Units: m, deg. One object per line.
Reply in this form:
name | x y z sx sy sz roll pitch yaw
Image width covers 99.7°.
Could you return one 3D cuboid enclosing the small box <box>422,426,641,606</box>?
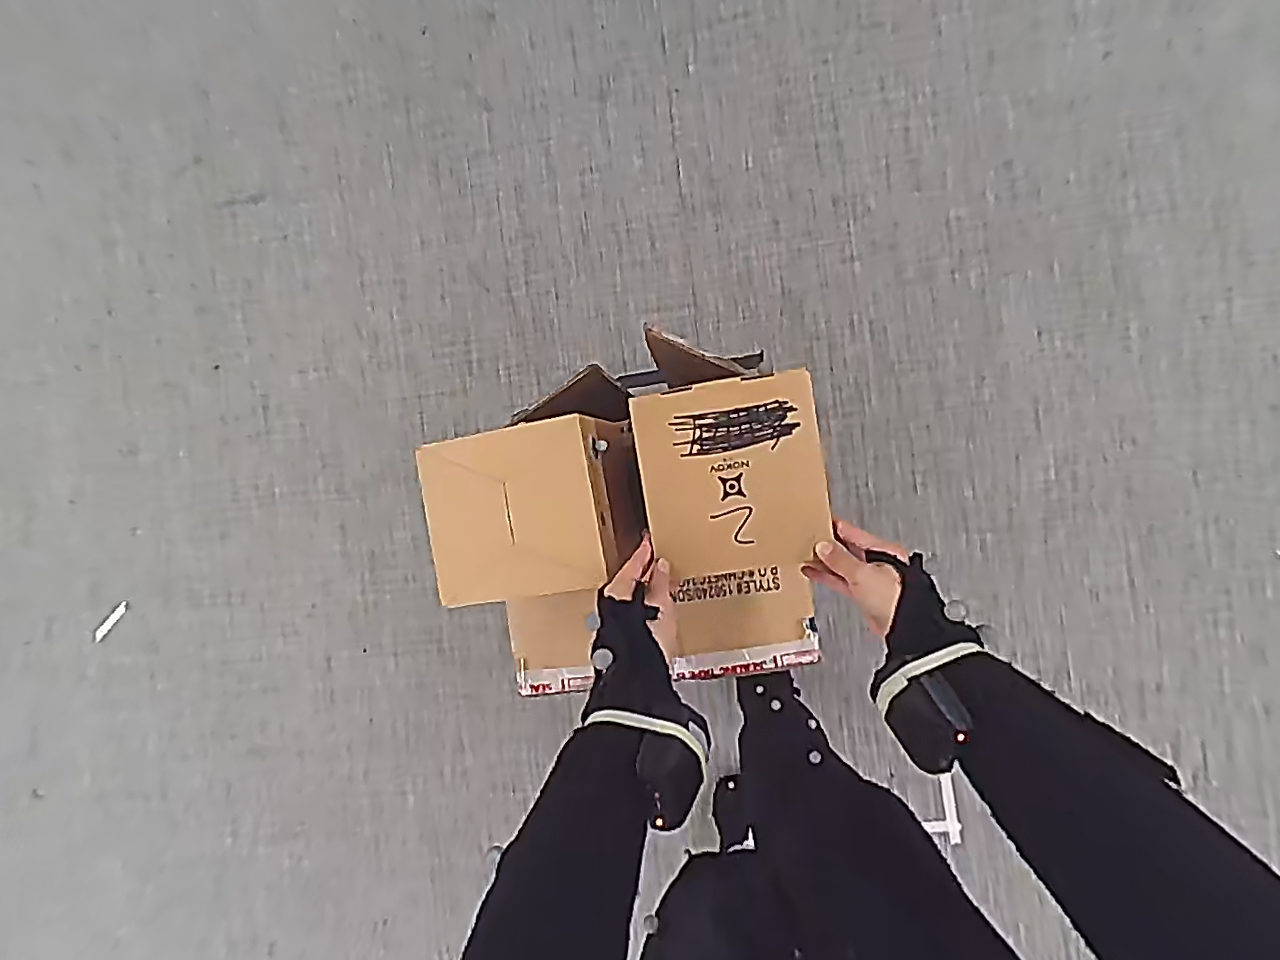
small box | -0.110 0.035 0.607 0.179 0.176 0.168 -10 90 10
